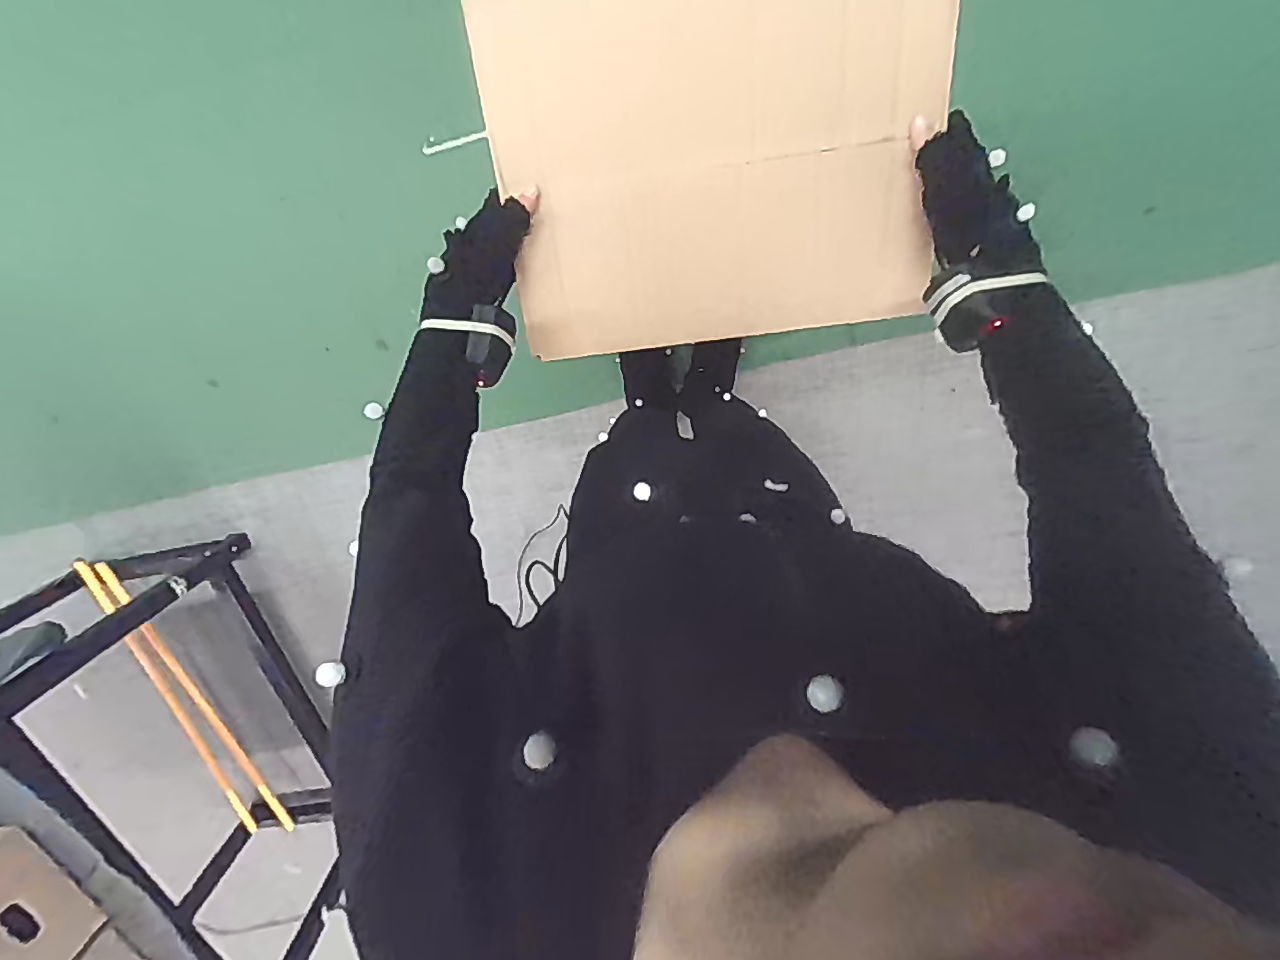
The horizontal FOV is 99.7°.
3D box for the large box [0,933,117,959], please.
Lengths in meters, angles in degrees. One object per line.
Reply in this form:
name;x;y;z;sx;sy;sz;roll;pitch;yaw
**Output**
large box;-1.346;1.203;1.095;0.408;0.320;0.320;-12;111;6
